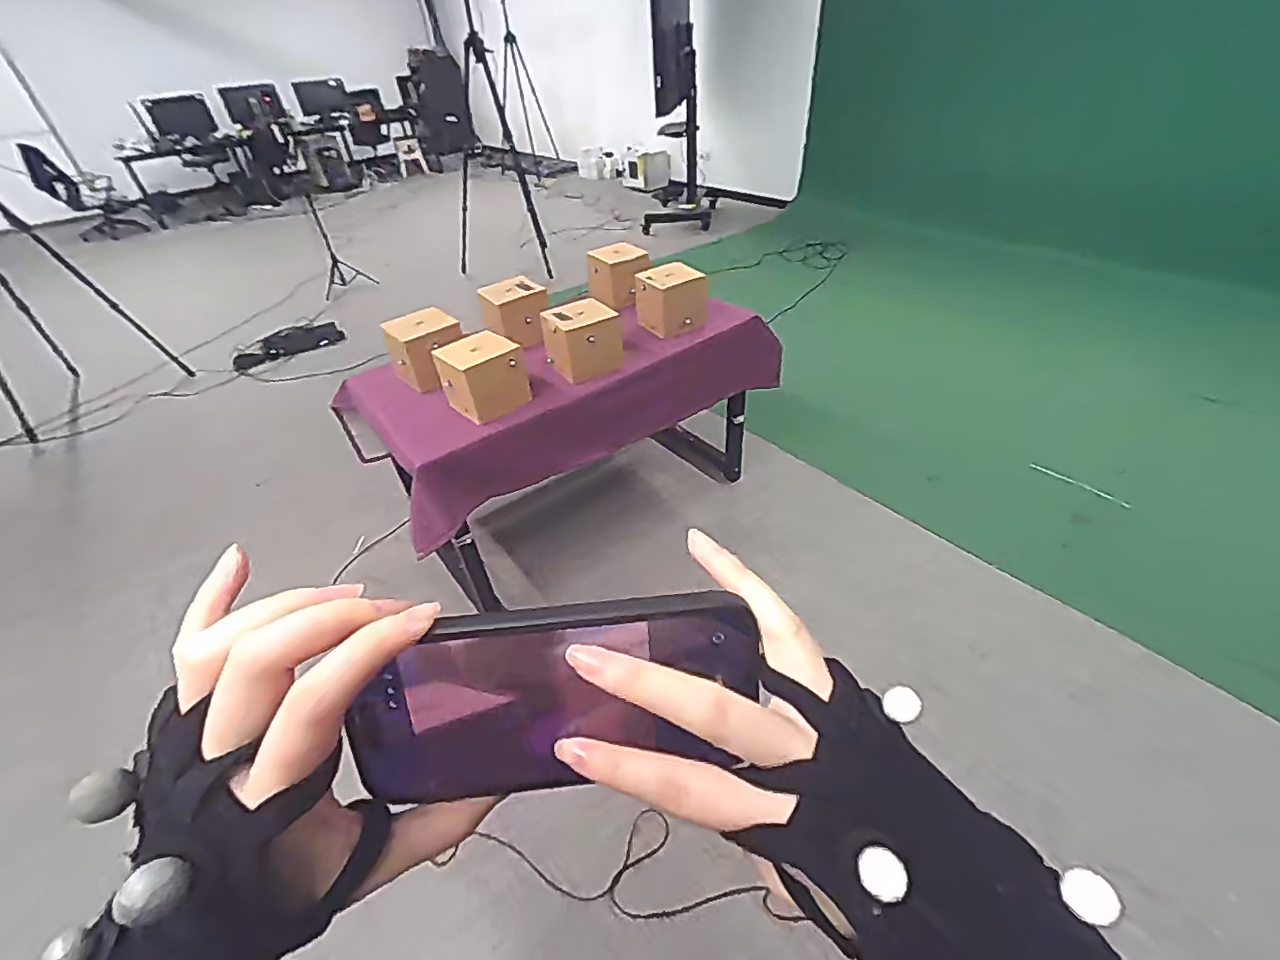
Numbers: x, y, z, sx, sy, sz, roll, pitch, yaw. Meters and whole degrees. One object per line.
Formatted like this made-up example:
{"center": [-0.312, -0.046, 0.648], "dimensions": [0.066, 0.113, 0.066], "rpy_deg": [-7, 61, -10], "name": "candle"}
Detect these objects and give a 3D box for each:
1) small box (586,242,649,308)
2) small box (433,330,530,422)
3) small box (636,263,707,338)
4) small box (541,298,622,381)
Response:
{"center": [-0.080, -0.746, 1.973], "dimensions": [0.168, 0.176, 0.179], "rpy_deg": [-27, 46, -23], "name": "small box"}
{"center": [-0.421, -0.279, 1.458], "dimensions": [0.179, 0.176, 0.168], "rpy_deg": [-33, 48, -31], "name": "small box"}
{"center": [0.101, -0.588, 1.772], "dimensions": [0.179, 0.176, 0.168], "rpy_deg": [-24, 43, -22], "name": "small box"}
{"center": [-0.167, -0.410, 1.587], "dimensions": [0.179, 0.176, 0.168], "rpy_deg": [-24, 44, -23], "name": "small box"}
